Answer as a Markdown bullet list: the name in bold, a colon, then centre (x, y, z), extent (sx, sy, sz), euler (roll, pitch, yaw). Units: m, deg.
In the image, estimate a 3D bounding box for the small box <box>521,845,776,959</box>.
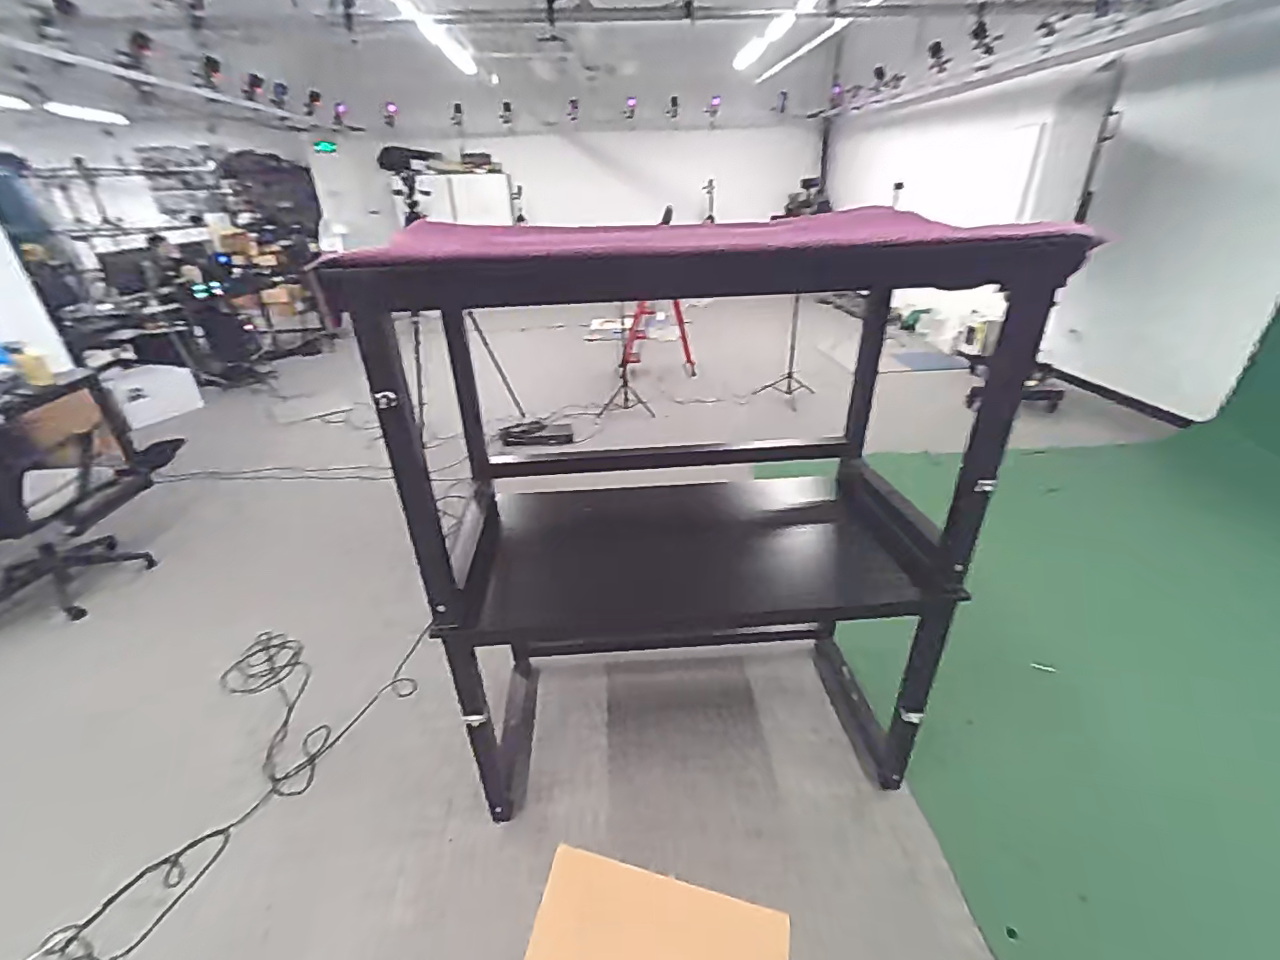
- **small box**: centre (-0.009, 0.398, 0.383), extent (0.168, 0.176, 0.179), euler (11, 47, 8)
